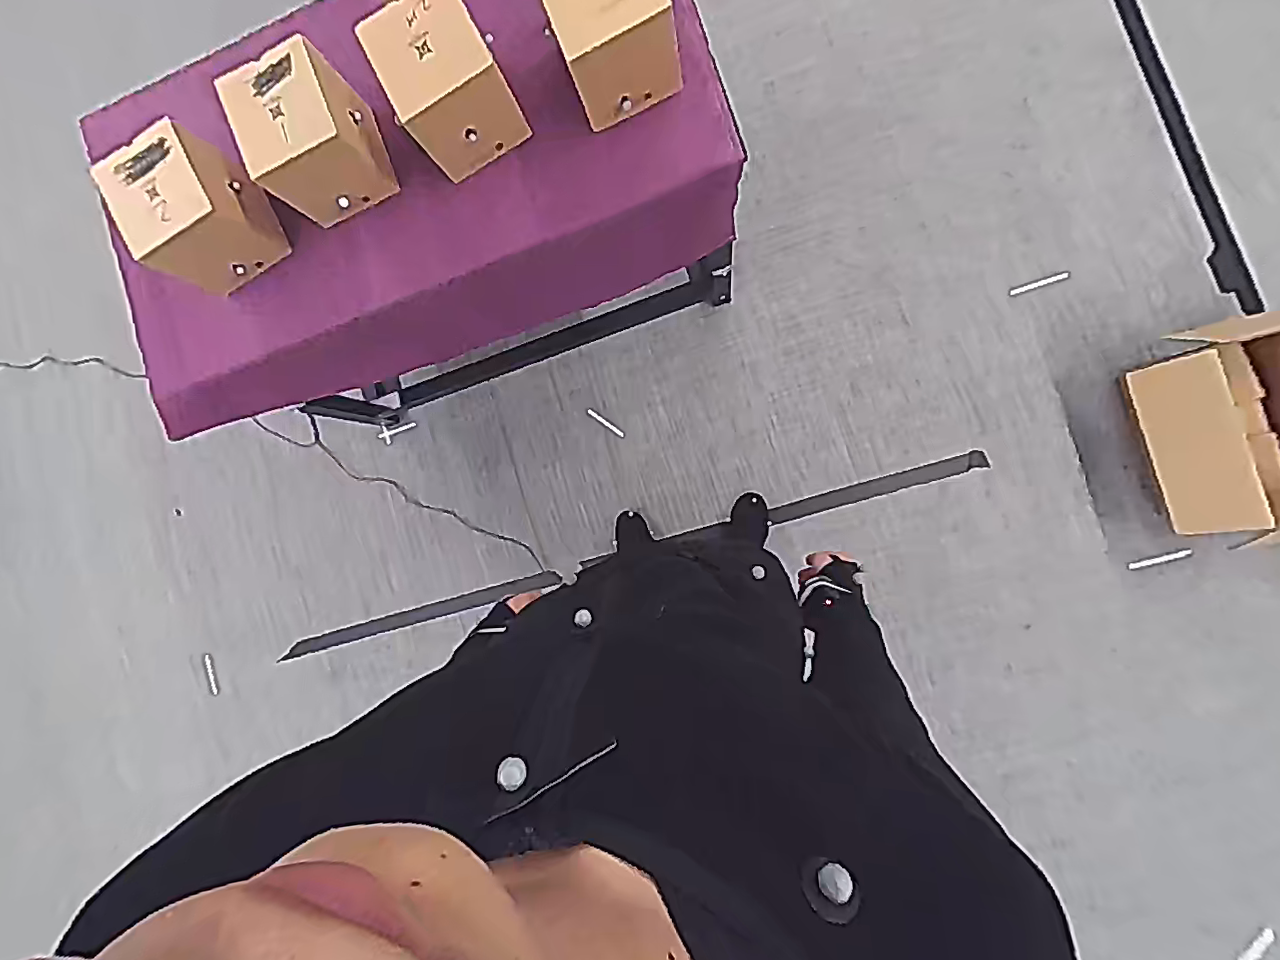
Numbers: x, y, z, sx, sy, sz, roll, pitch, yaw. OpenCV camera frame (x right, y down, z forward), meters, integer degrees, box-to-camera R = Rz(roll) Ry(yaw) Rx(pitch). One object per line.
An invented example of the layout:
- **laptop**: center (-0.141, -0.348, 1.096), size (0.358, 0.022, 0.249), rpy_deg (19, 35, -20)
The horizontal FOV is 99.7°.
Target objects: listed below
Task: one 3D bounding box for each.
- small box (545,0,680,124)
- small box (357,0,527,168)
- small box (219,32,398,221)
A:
- **small box**: center (-0.047, -0.712, 0.841), size (0.168, 0.176, 0.179), rpy_deg (-21, 86, 9)
- **small box**: center (-0.309, -0.651, 0.881), size (0.168, 0.176, 0.179), rpy_deg (-27, 85, 7)
- **small box**: center (-0.552, -0.585, 0.919), size (0.168, 0.176, 0.179), rpy_deg (-22, 87, 8)
